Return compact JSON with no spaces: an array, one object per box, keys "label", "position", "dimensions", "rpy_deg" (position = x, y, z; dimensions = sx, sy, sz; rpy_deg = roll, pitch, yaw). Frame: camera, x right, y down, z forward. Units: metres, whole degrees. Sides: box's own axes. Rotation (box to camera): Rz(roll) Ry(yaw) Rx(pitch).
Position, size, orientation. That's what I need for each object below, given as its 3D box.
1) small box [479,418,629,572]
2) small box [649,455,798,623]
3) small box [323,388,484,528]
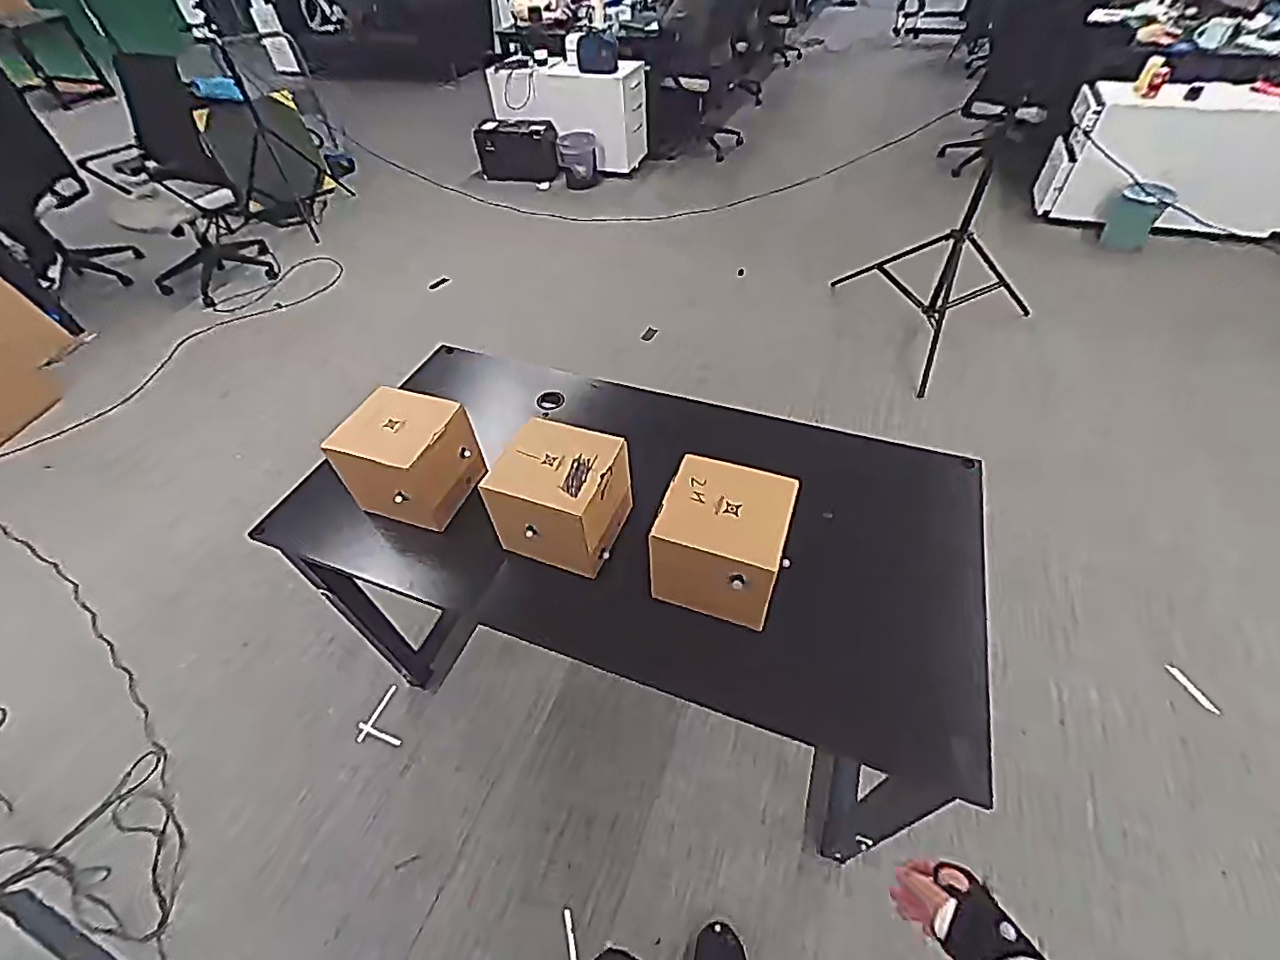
[{"label":"small box","position":[-0.128,0.028,0.891],"dimensions":[0.179,0.176,0.168],"rpy_deg":[15,51,17]},{"label":"small box","position":[0.124,0.093,0.817],"dimensions":[0.179,0.176,0.168],"rpy_deg":[14,50,15]},{"label":"small box","position":[-0.406,-0.035,0.965],"dimensions":[0.179,0.176,0.168],"rpy_deg":[12,50,14]}]
